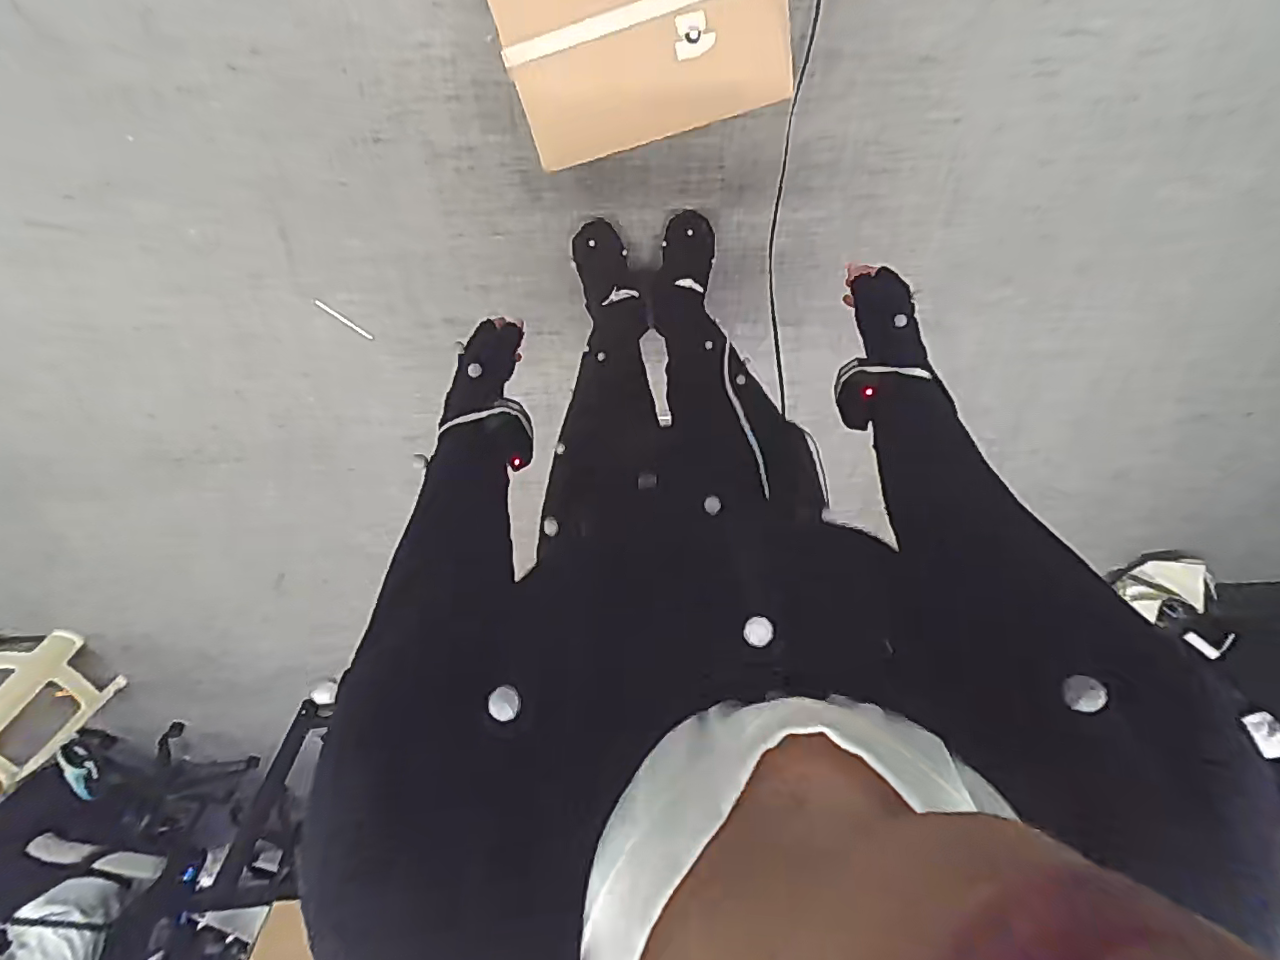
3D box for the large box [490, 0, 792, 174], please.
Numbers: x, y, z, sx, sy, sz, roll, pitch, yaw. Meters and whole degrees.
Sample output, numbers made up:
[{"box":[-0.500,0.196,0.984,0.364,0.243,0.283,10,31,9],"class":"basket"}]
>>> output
[{"box":[-0.006,-0.746,0.884,0.408,0.320,0.320,-14,126,6],"class":"large box"}]
